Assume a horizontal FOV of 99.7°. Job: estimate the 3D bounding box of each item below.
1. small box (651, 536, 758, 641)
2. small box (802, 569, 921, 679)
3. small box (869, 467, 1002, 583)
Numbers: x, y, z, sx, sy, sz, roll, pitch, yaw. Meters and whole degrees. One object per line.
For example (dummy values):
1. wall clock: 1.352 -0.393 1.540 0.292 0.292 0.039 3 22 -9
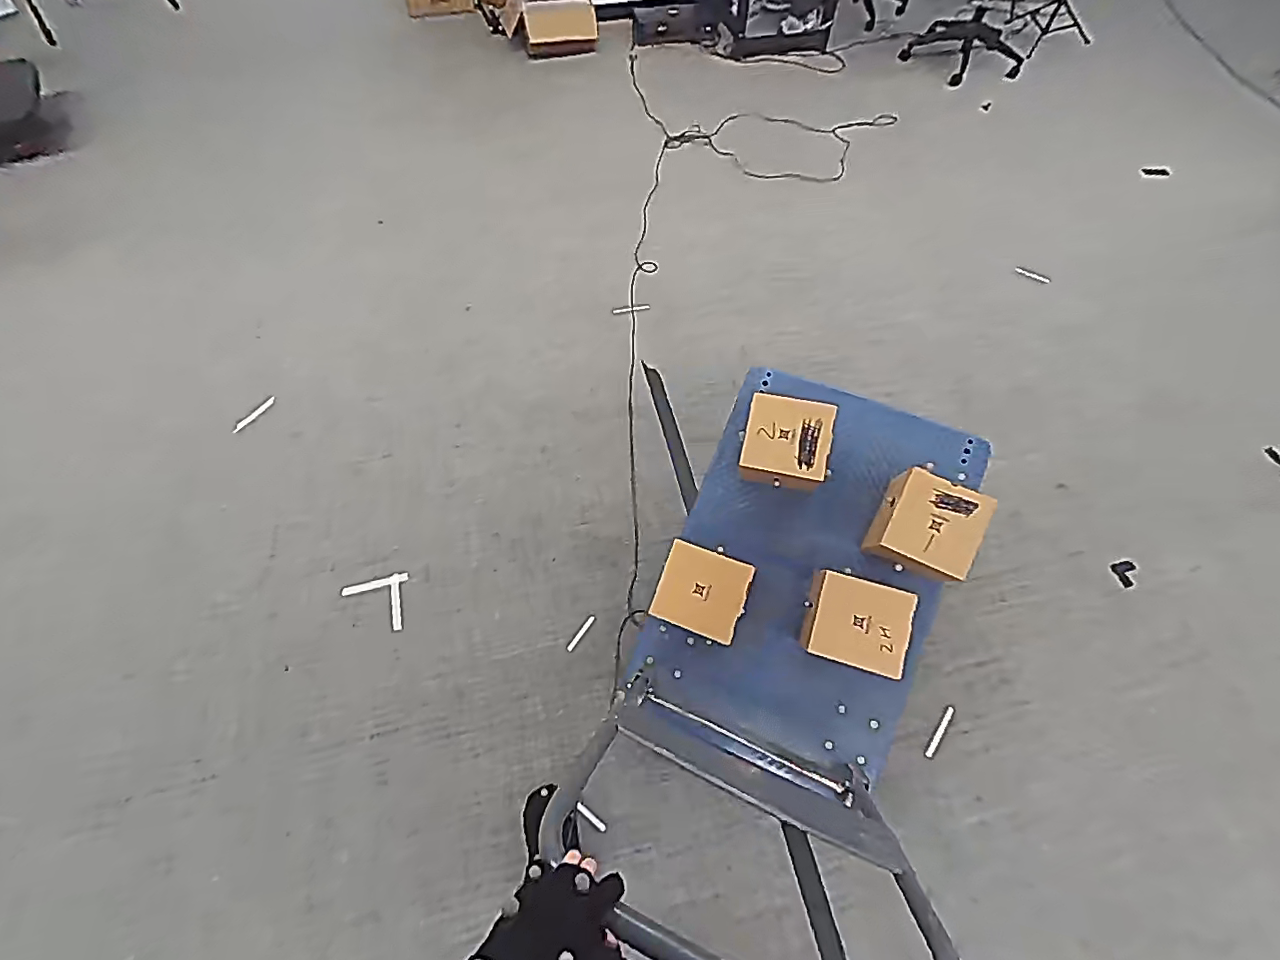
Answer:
1. small box: 0.142 0.235 1.174 0.179 0.176 0.168 20 83 11
2. small box: 0.443 0.290 1.111 0.179 0.176 0.168 16 83 13
3. small box: 0.598 0.098 1.121 0.168 0.176 0.179 26 86 14
